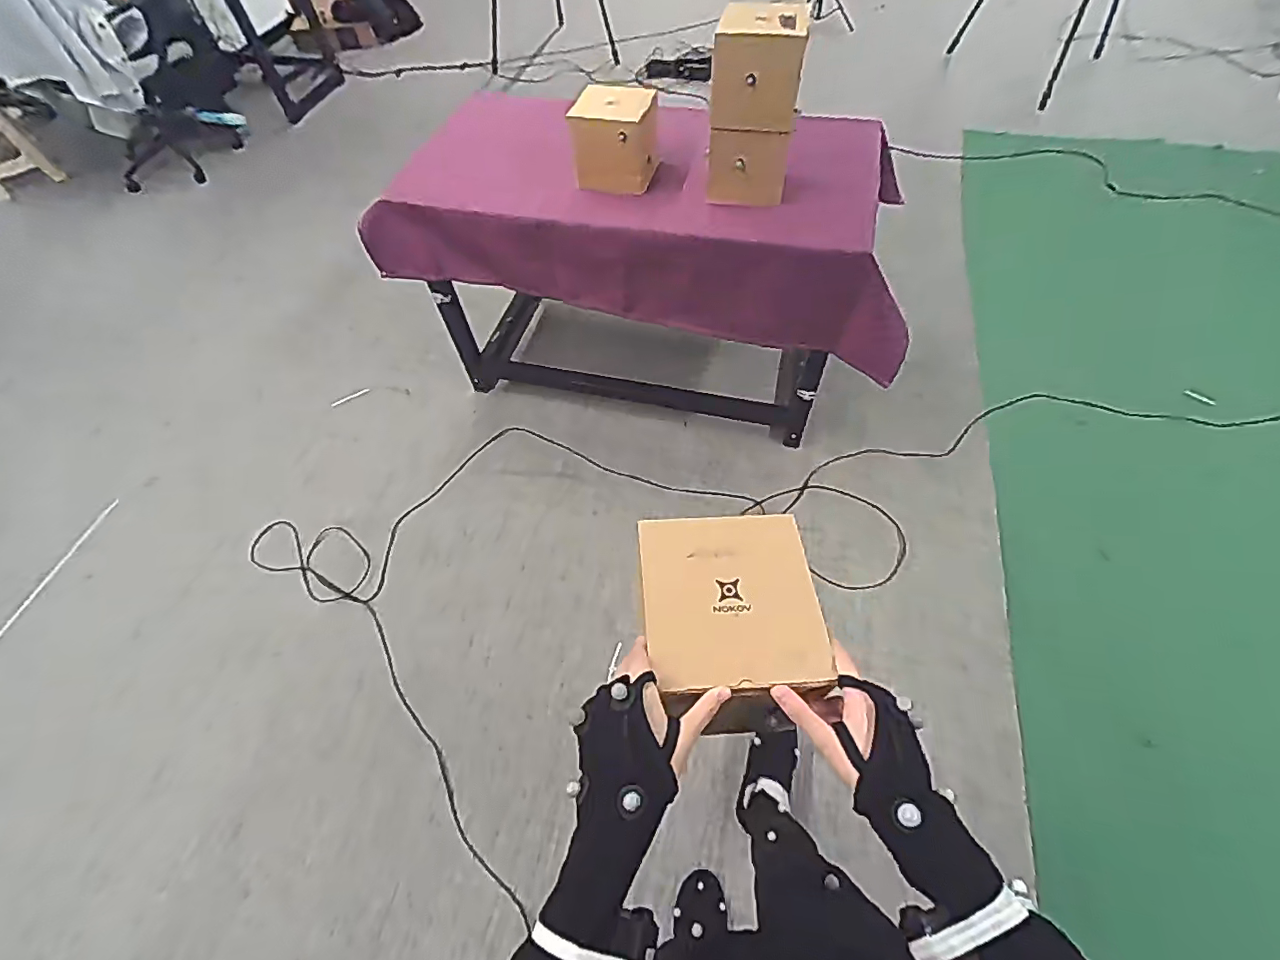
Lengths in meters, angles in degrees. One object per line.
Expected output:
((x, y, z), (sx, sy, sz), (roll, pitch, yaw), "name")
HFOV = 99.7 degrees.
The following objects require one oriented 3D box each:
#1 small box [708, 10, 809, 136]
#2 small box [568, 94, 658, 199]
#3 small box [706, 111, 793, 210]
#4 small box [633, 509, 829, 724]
((0.243, -0.846, 1.131), (0.179, 0.176, 0.168), (9, 57, 10), "small box")
((-0.060, -0.822, 1.336), (0.179, 0.176, 0.168), (12, 58, 10), "small box")
((0.253, -0.757, 1.269), (0.179, 0.176, 0.168), (8, 57, 10), "small box")
((0.079, 0.151, 0.578), (0.168, 0.176, 0.179), (-2, 51, -4), "small box")
